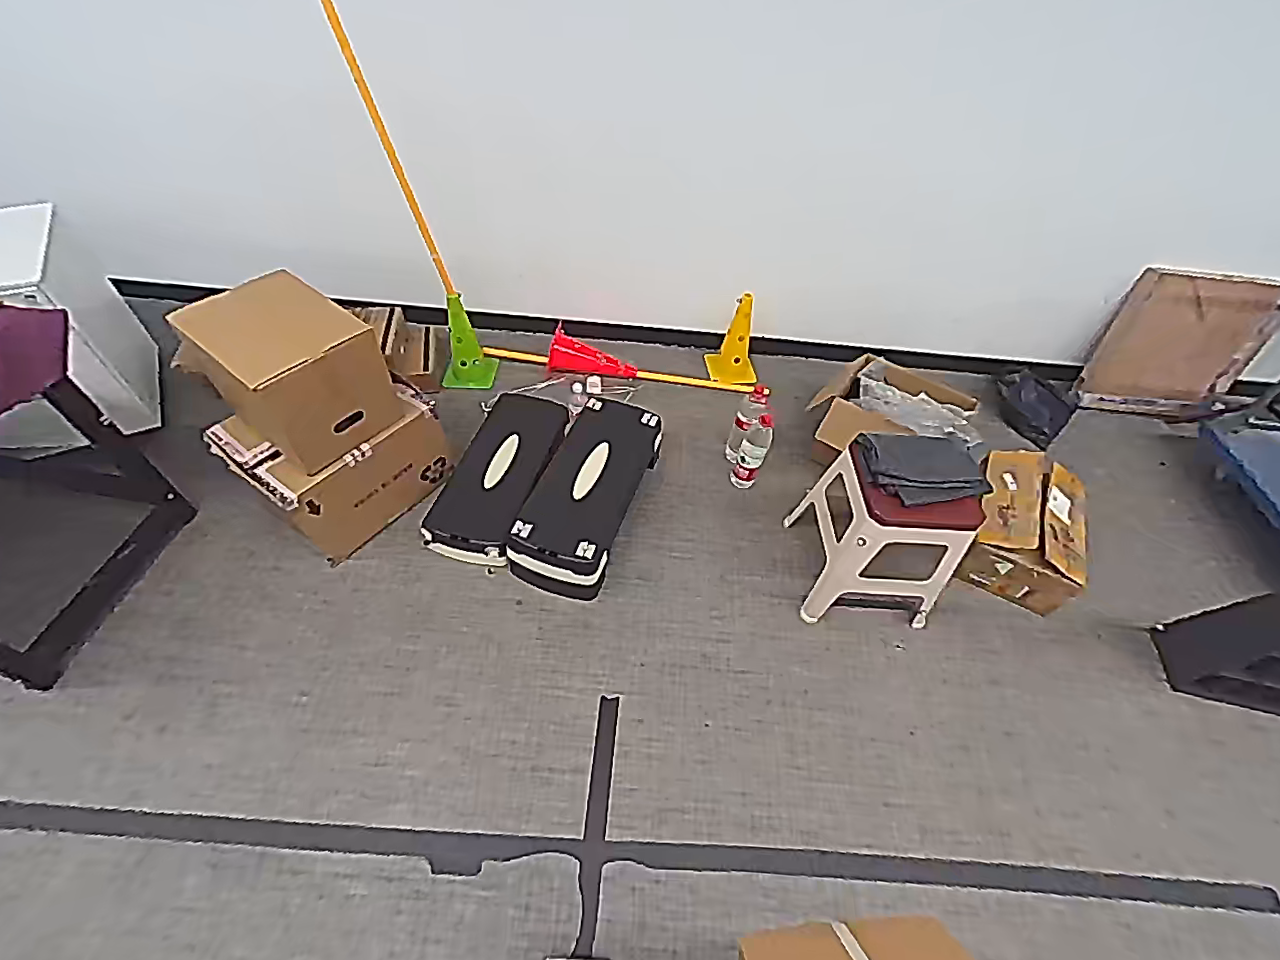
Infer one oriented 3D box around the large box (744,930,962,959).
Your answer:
[{"bbox_3d":[0.327,0.820,0.611,0.320,0.408,0.320,-2,82,-5],"label":"large box"}]
